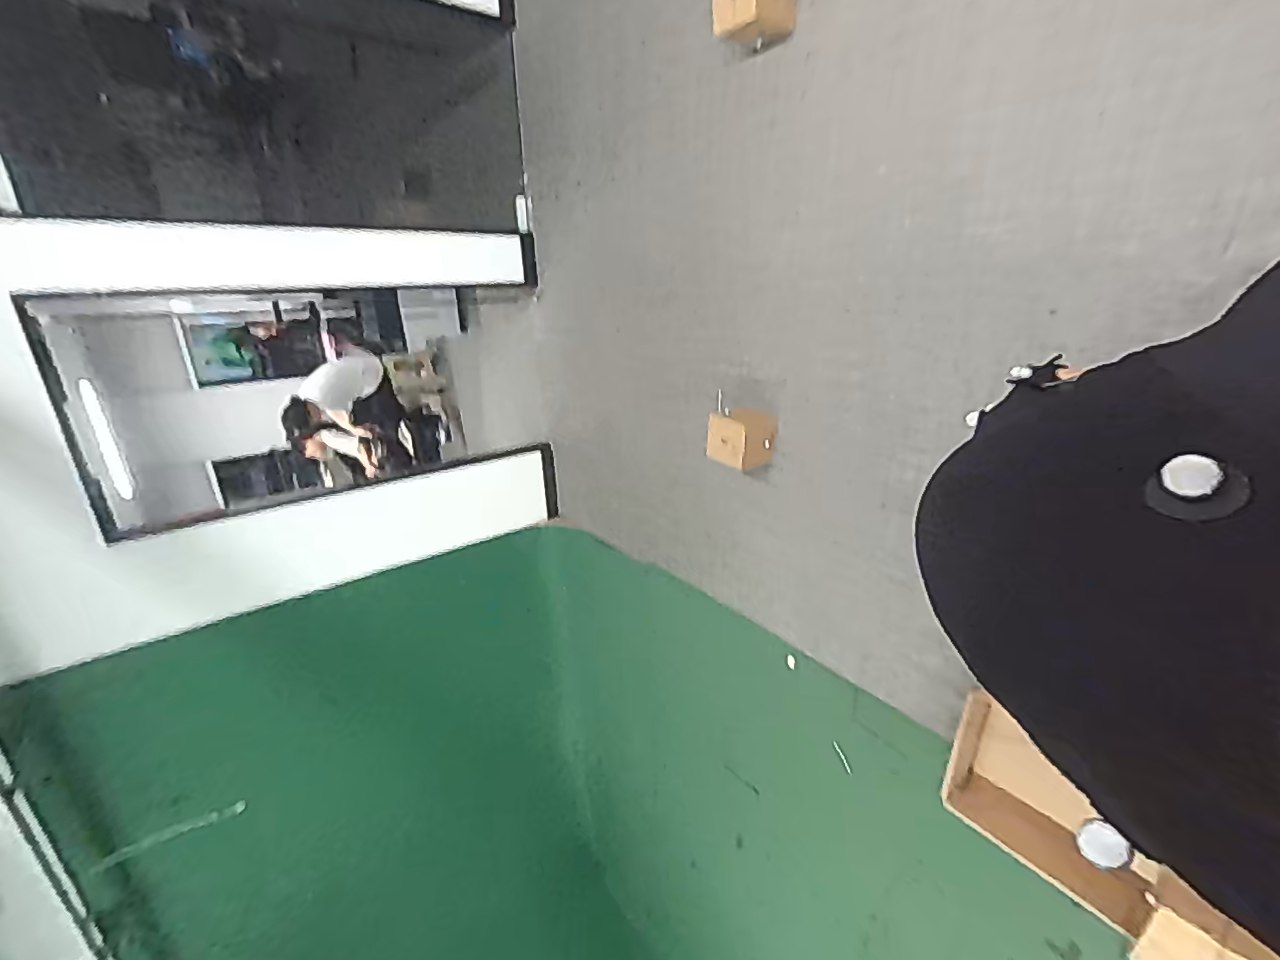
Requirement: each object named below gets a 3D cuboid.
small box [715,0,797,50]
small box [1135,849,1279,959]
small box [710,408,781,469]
[{"bbox_3d":[0.330,-1.357,1.524,0.168,0.176,0.179,24,122,49],"label":"small box"},{"bbox_3d":[1.054,0.830,0.982,0.168,0.176,0.179,26,123,47],"label":"small box"},{"bbox_3d":[0.375,-0.155,1.935,0.179,0.176,0.168,29,126,46],"label":"small box"}]
